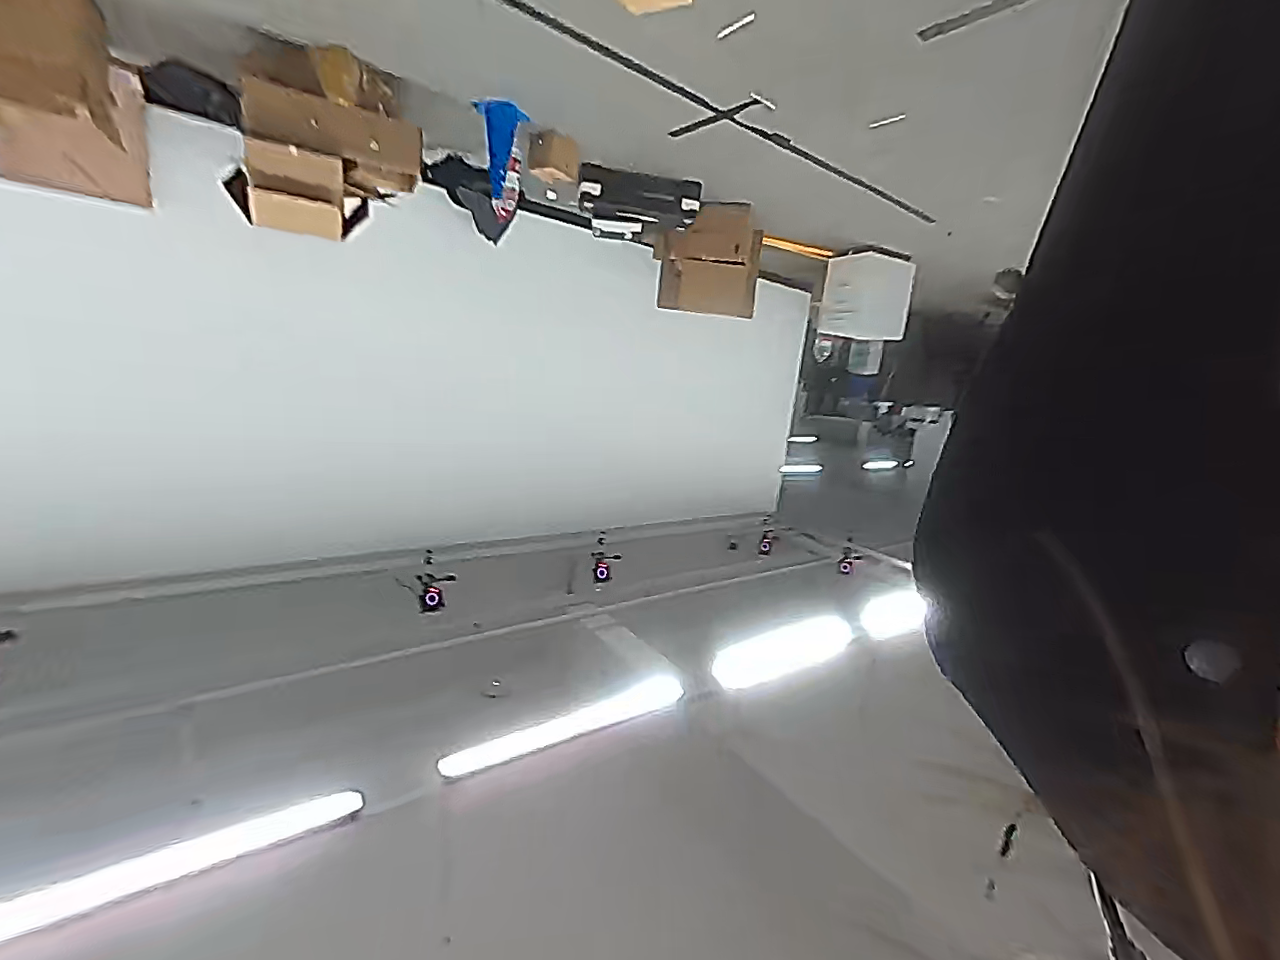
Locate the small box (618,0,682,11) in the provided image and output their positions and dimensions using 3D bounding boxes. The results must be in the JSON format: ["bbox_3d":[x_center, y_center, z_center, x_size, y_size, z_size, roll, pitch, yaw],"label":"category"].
[{"bbox_3d":[0.013,-1.237,1.242,0.179,0.176,0.168,12,-167,25],"label":"small box"}]
